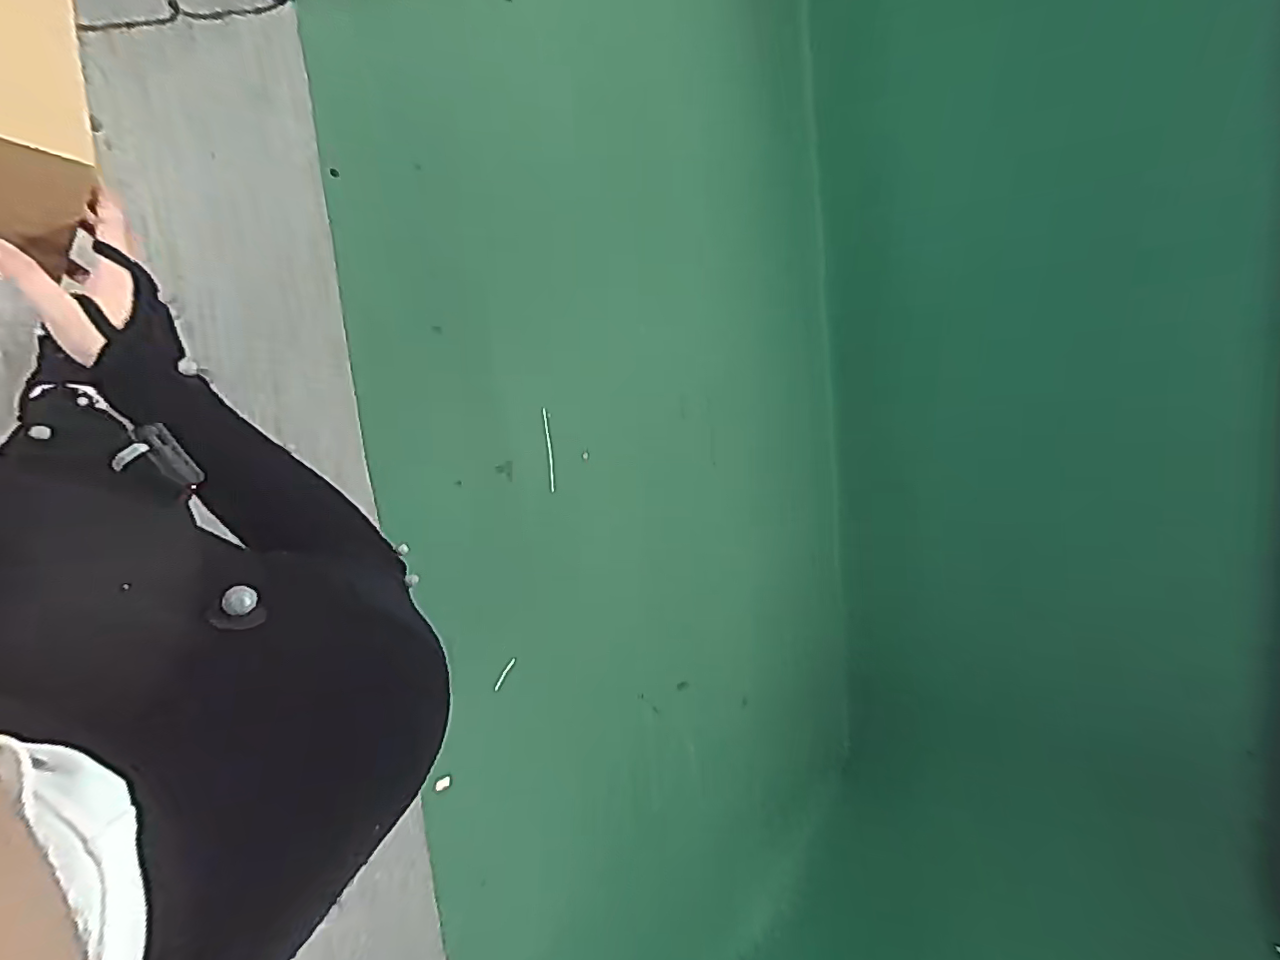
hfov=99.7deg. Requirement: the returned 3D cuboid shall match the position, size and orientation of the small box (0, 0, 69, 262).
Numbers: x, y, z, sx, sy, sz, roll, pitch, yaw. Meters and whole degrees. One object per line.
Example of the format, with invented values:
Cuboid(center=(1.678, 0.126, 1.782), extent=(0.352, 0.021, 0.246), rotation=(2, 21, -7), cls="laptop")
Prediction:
Cuboid(center=(-0.516, -0.279, 0.359), extent=(0.168, 0.176, 0.179), rotation=(-4, 75, -55), cls="small box")
